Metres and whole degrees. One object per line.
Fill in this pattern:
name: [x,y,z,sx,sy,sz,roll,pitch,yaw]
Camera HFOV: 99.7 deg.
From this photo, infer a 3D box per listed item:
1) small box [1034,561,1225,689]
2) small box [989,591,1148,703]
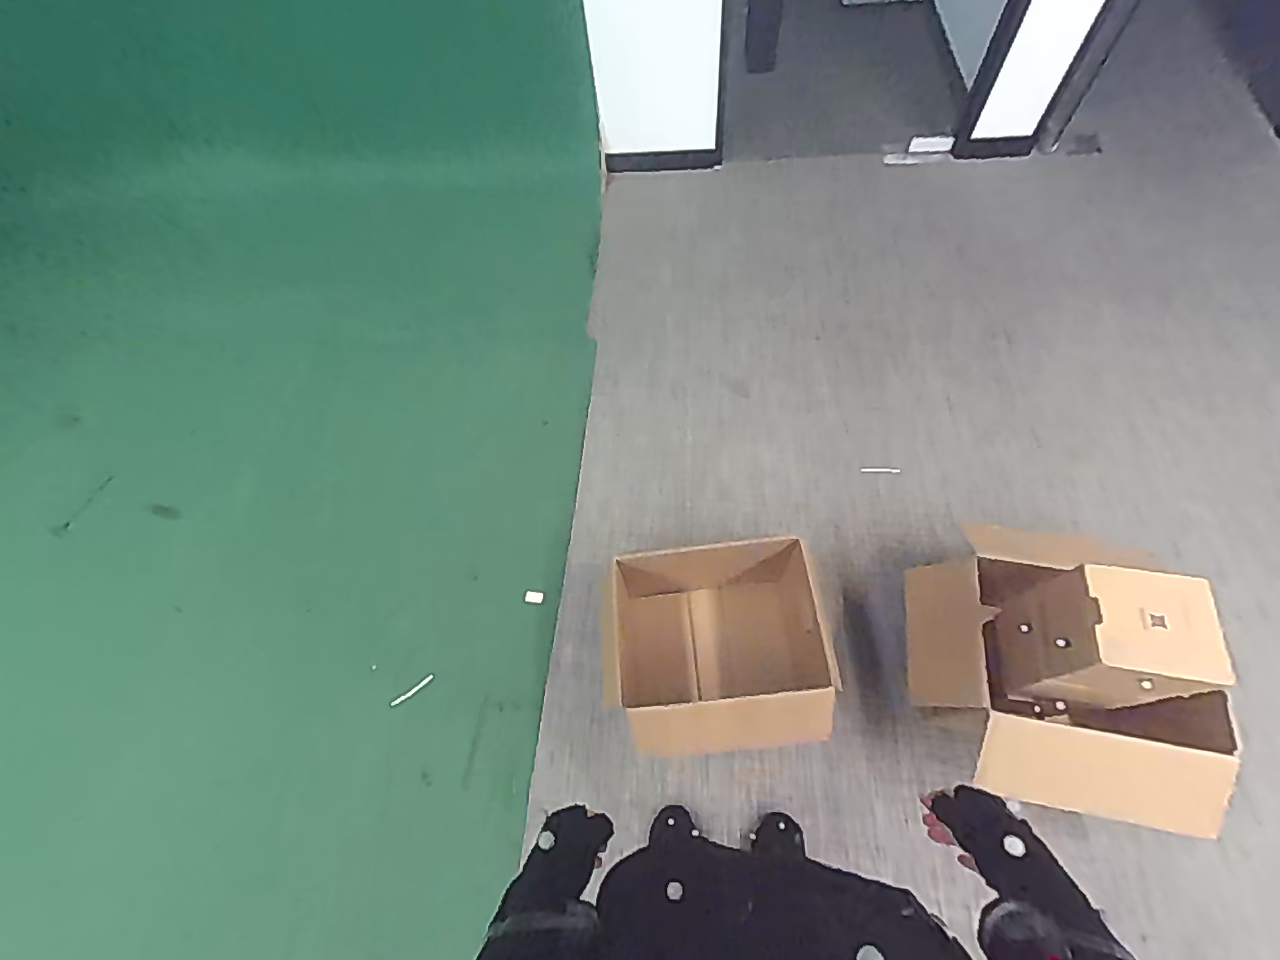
small box: [0.807,0.251,0.921,0.179,0.176,0.168,6,64,10]
small box: [0.824,0.332,1.061,0.179,0.176,0.168,6,62,11]
